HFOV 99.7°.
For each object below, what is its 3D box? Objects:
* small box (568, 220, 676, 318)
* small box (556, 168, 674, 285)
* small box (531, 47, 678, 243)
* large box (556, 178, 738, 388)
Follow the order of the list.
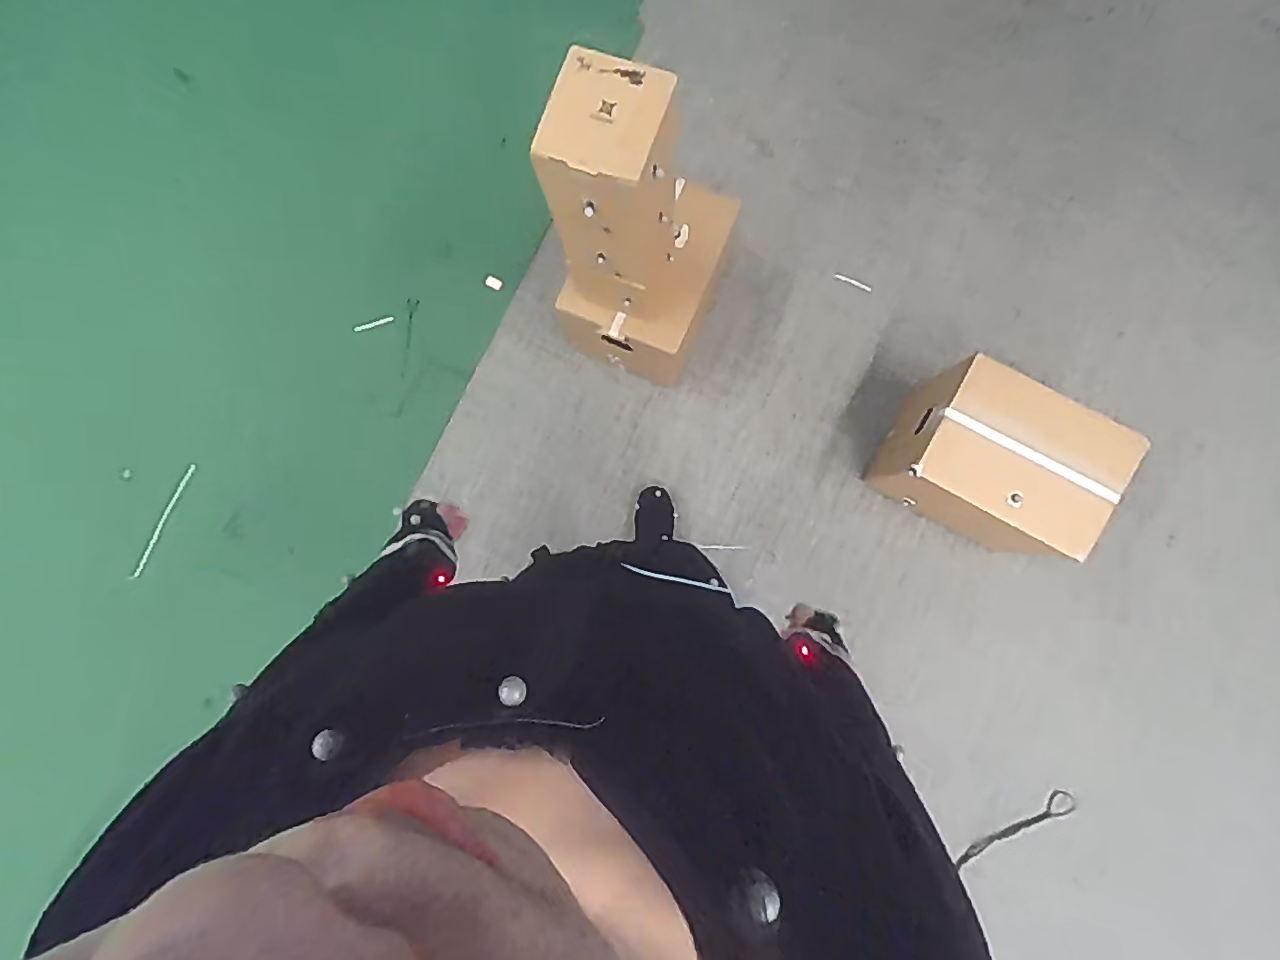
[{"bbox_3d":[-0.032,-0.473,1.168,0.179,0.176,0.168,23,86,6],"label":"small box"},{"bbox_3d":[-0.037,-0.493,1.006,0.168,0.176,0.179,19,85,4],"label":"small box"},{"bbox_3d":[-0.045,-0.505,0.842,0.168,0.176,0.179,21,87,4],"label":"small box"},{"bbox_3d":[0.025,-0.509,1.413,0.320,0.320,0.408,24,86,5],"label":"large box"}]
